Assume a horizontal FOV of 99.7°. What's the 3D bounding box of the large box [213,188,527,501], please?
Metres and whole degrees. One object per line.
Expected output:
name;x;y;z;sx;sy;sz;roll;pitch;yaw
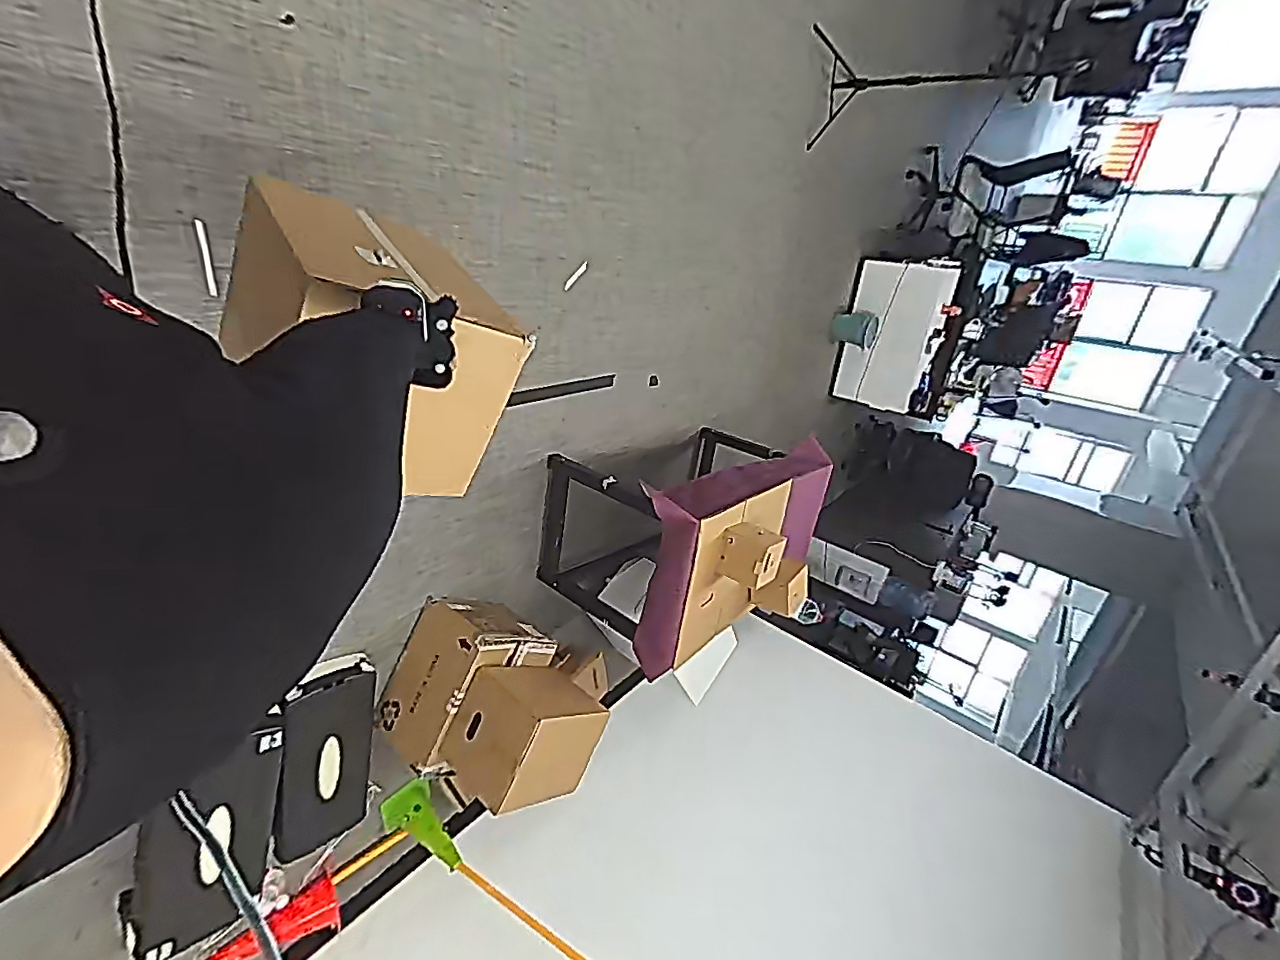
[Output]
large box;-0.464;-0.209;0.903;0.320;0.408;0.320;2;127;-48
